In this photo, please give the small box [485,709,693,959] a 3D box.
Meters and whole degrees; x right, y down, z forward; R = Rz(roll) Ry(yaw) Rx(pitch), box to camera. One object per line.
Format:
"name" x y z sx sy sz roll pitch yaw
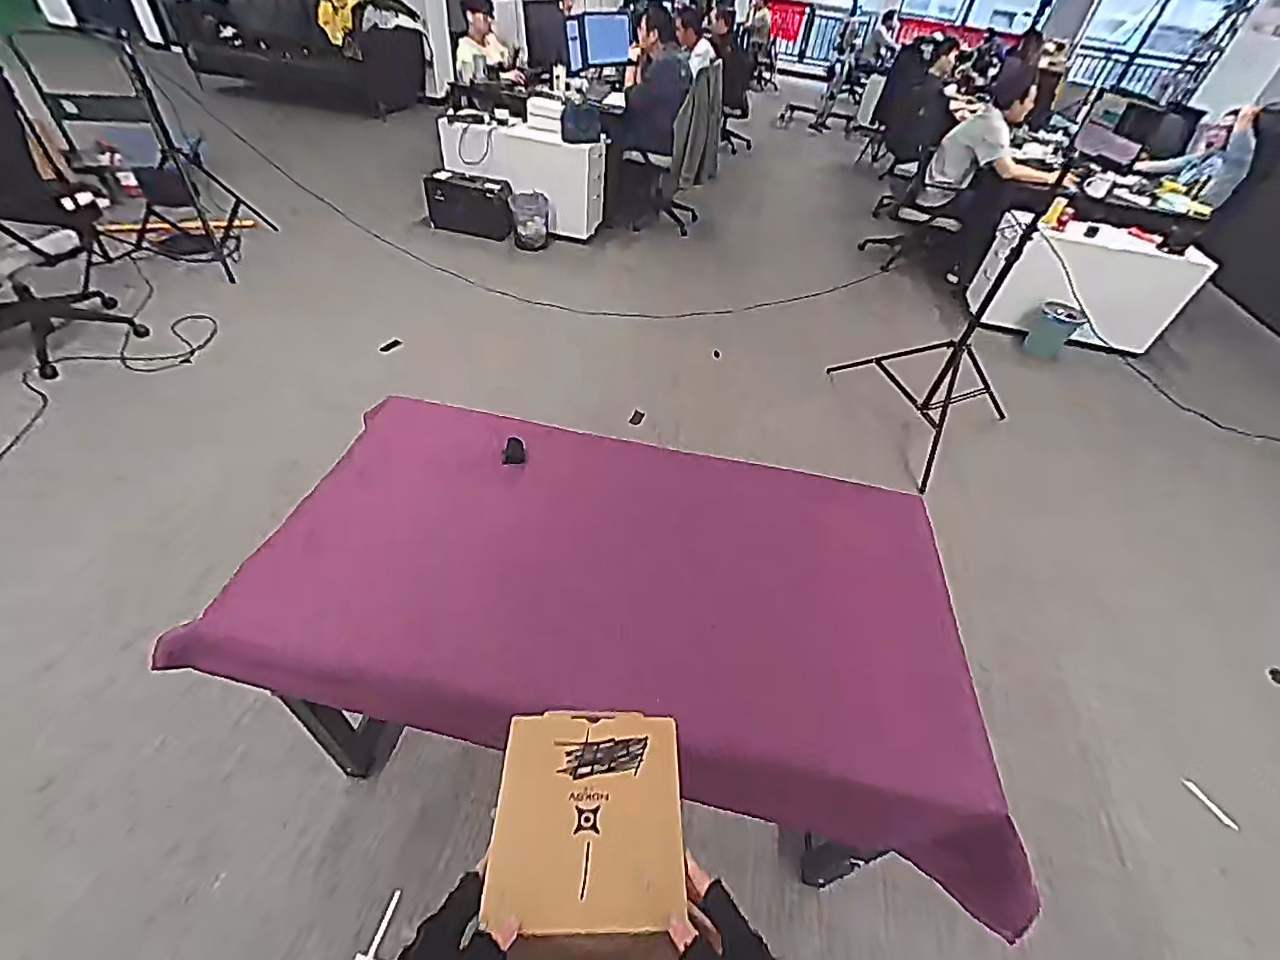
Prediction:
"small box" -0.044 0.353 0.531 0.168 0.176 0.179 2 36 -2
